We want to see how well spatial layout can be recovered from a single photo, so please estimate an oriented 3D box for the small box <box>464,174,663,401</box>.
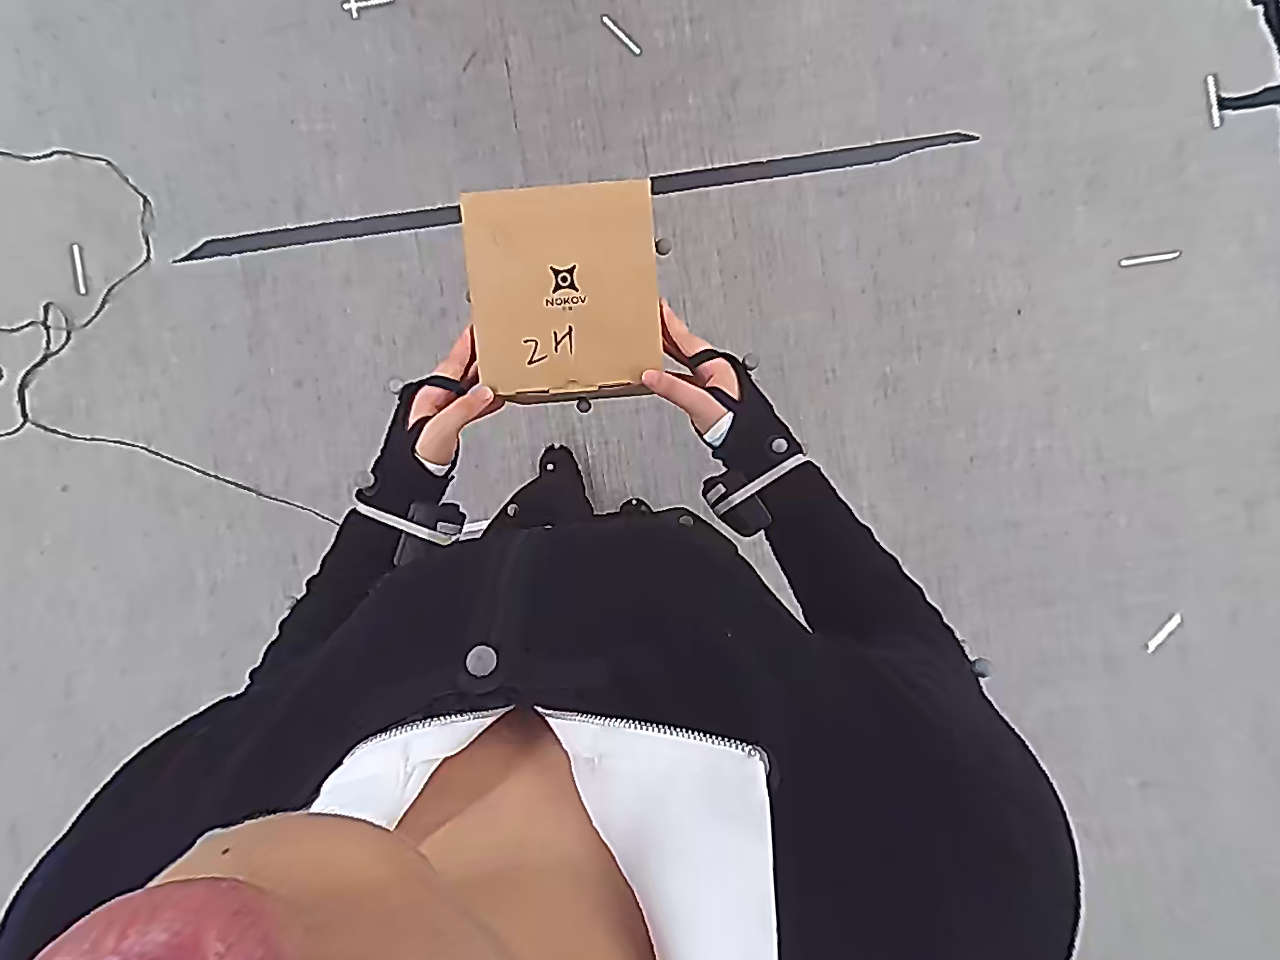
[{"bbox_3d":[-0.067,-0.178,0.550,0.168,0.176,0.179,-4,95,0],"label":"small box"}]
